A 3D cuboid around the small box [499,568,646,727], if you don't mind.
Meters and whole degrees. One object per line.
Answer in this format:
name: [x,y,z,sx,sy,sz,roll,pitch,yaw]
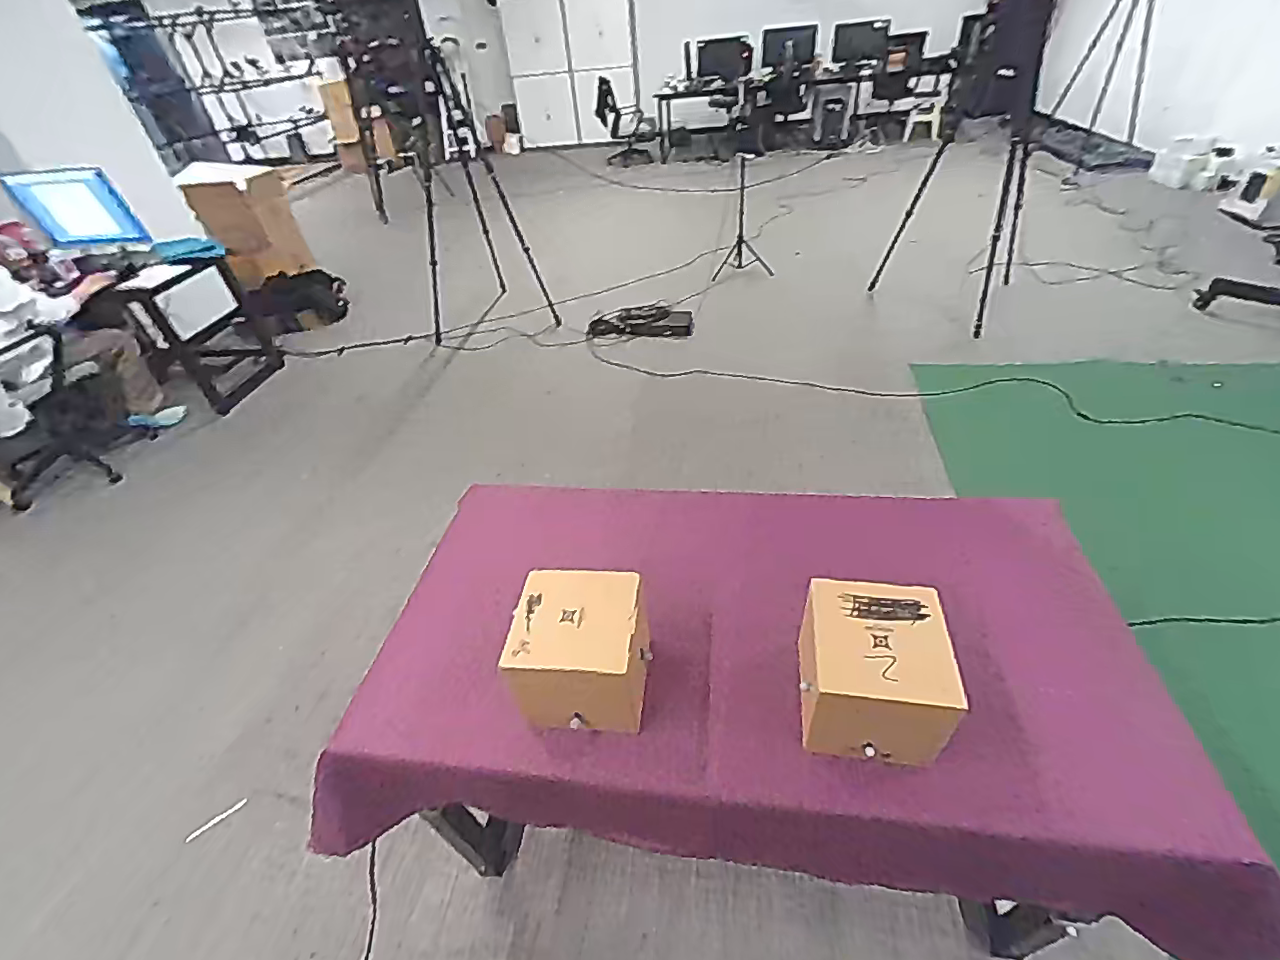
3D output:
small box: [-0.086,0.253,0.812,0.179,0.176,0.168,1,41,8]
